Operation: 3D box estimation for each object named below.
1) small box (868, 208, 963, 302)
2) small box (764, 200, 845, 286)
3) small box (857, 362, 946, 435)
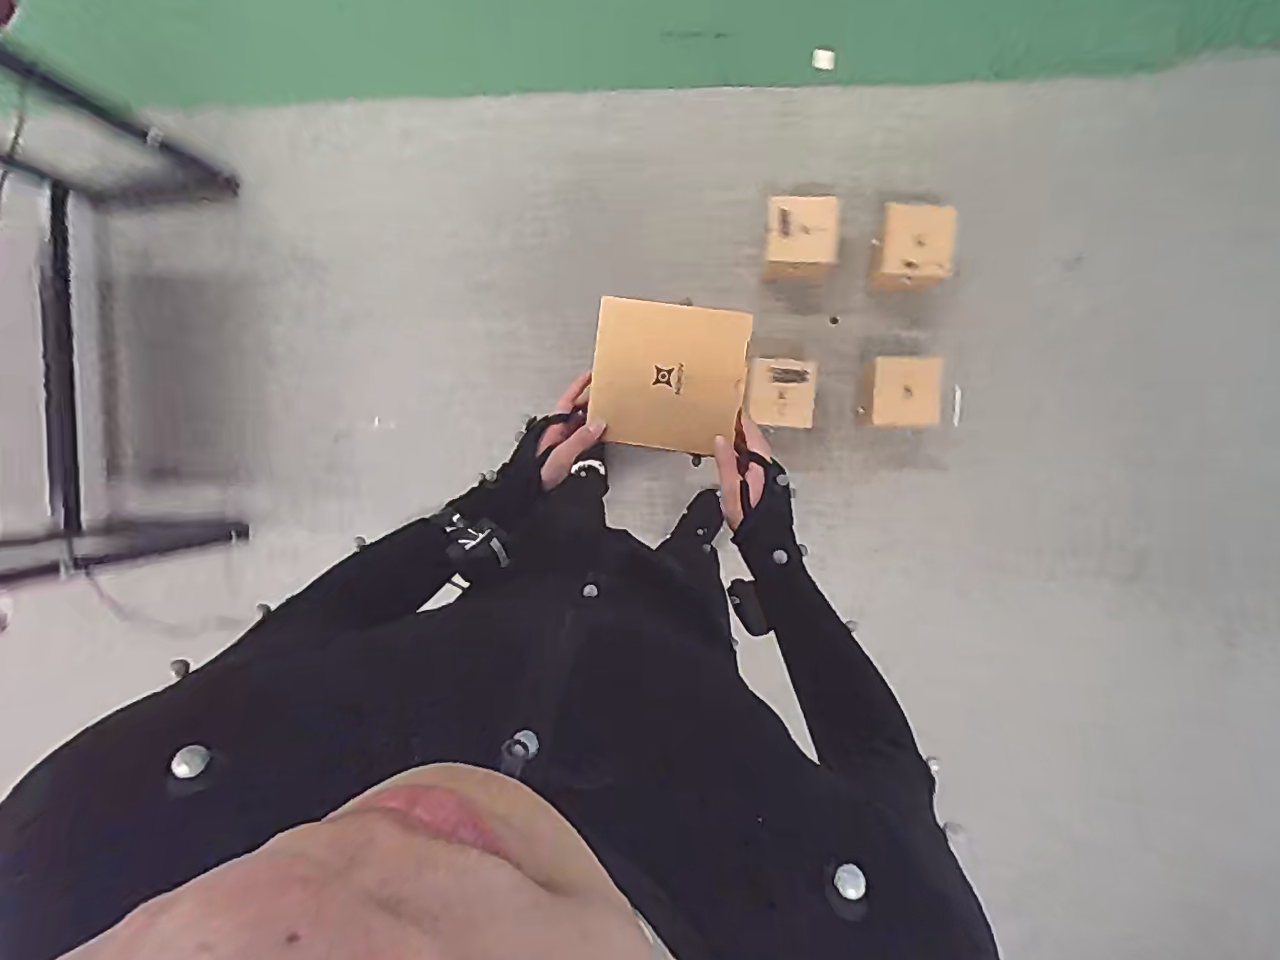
[{"bbox_3d":[0.719,-0.588,1.428,0.168,0.176,0.179,7,93,6],"label":"small box"},{"bbox_3d":[0.435,-0.632,1.458,0.179,0.176,0.168,5,94,5],"label":"small box"},{"bbox_3d":[0.693,-0.212,1.450,0.168,0.176,0.179,4,93,5],"label":"small box"}]
